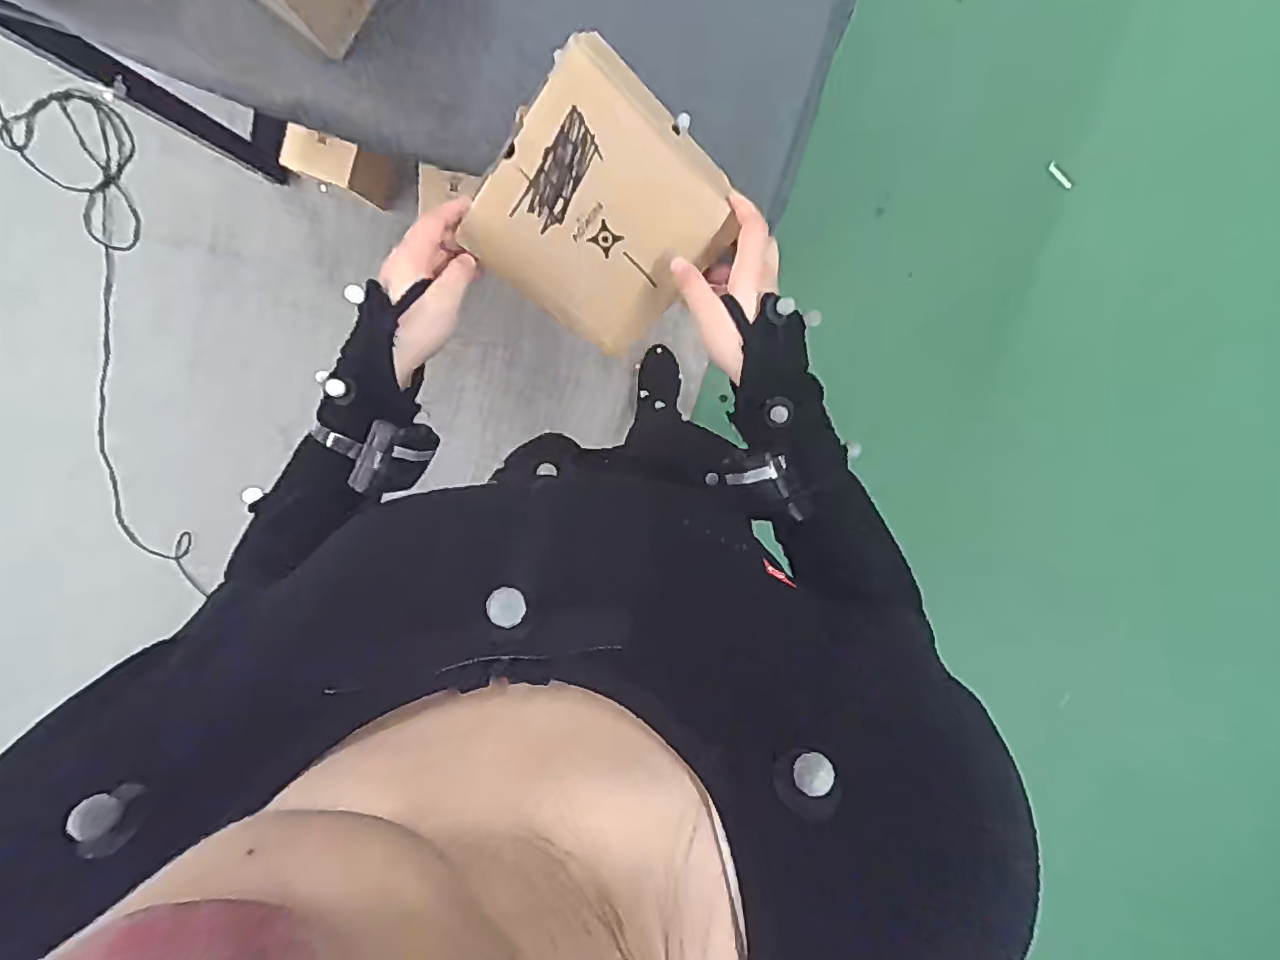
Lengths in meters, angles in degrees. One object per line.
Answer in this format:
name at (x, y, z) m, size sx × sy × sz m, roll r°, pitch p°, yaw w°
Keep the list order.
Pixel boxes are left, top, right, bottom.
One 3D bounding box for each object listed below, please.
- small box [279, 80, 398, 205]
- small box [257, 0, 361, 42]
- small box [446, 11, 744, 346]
small box at (-0.705, -0.785, 1.280) m, size 0.168 × 0.176 × 0.179 m, roll 20°, pitch 99°, yaw -1°
small box at (-0.389, -0.612, 0.557) m, size 0.179 × 0.176 × 0.168 m, roll 36°, pitch 96°, yaw -3°
small box at (-0.035, -0.262, 0.480) m, size 0.179 × 0.176 × 0.168 m, roll 34°, pitch 124°, yaw -25°
